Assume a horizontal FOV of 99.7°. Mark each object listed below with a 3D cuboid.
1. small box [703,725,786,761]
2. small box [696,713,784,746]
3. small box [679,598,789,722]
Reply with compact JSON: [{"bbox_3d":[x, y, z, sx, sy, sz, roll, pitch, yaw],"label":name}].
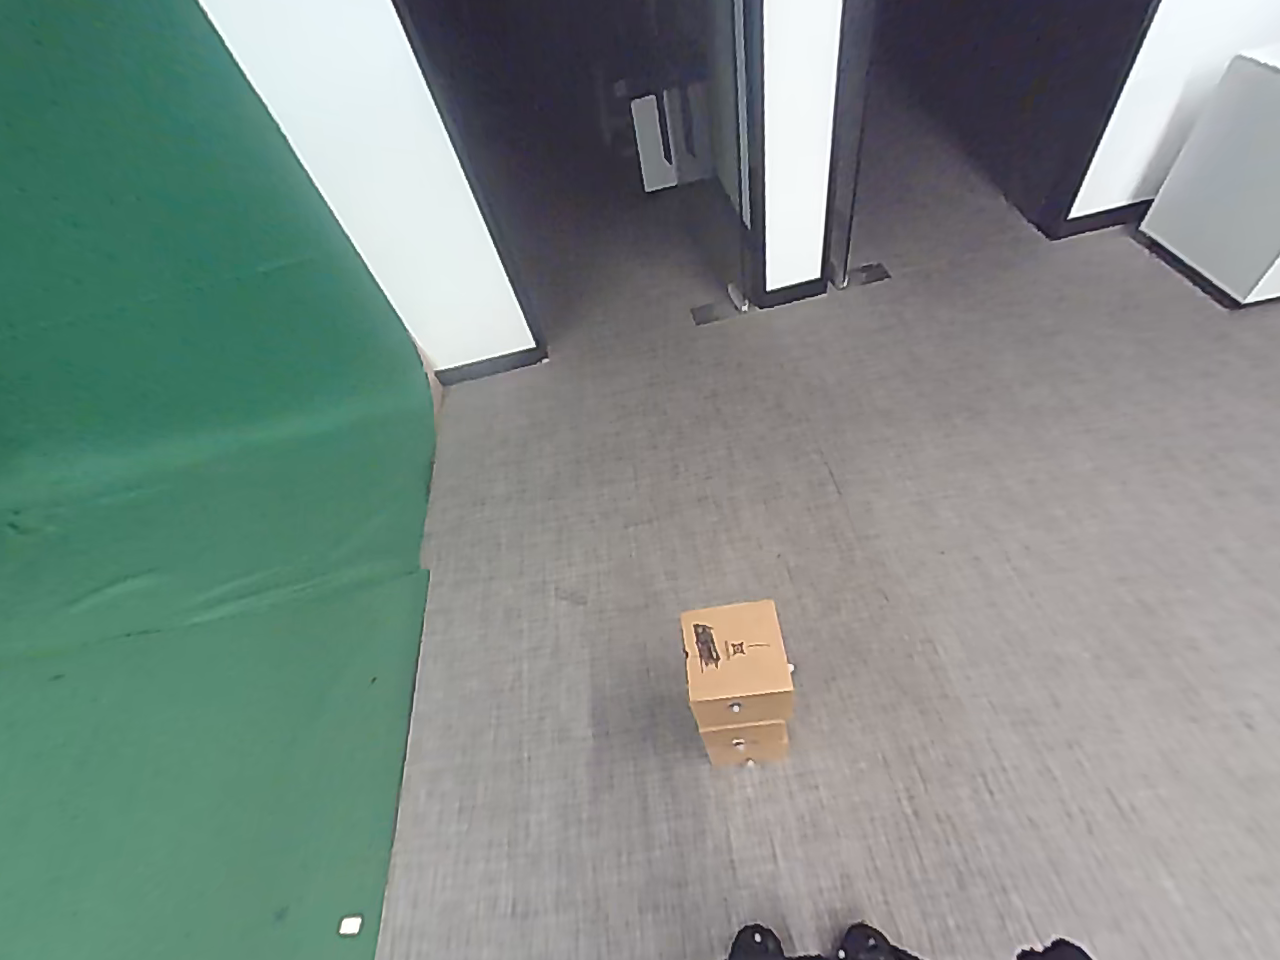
[{"bbox_3d":[0.235,0.546,1.262,0.179,0.176,0.168,-8,51,7],"label":"small box"},{"bbox_3d":[0.203,0.444,1.141,0.168,0.176,0.179,-11,52,8],"label":"small box"},{"bbox_3d":[0.177,0.342,1.013,0.179,0.176,0.168,-9,51,8],"label":"small box"}]
